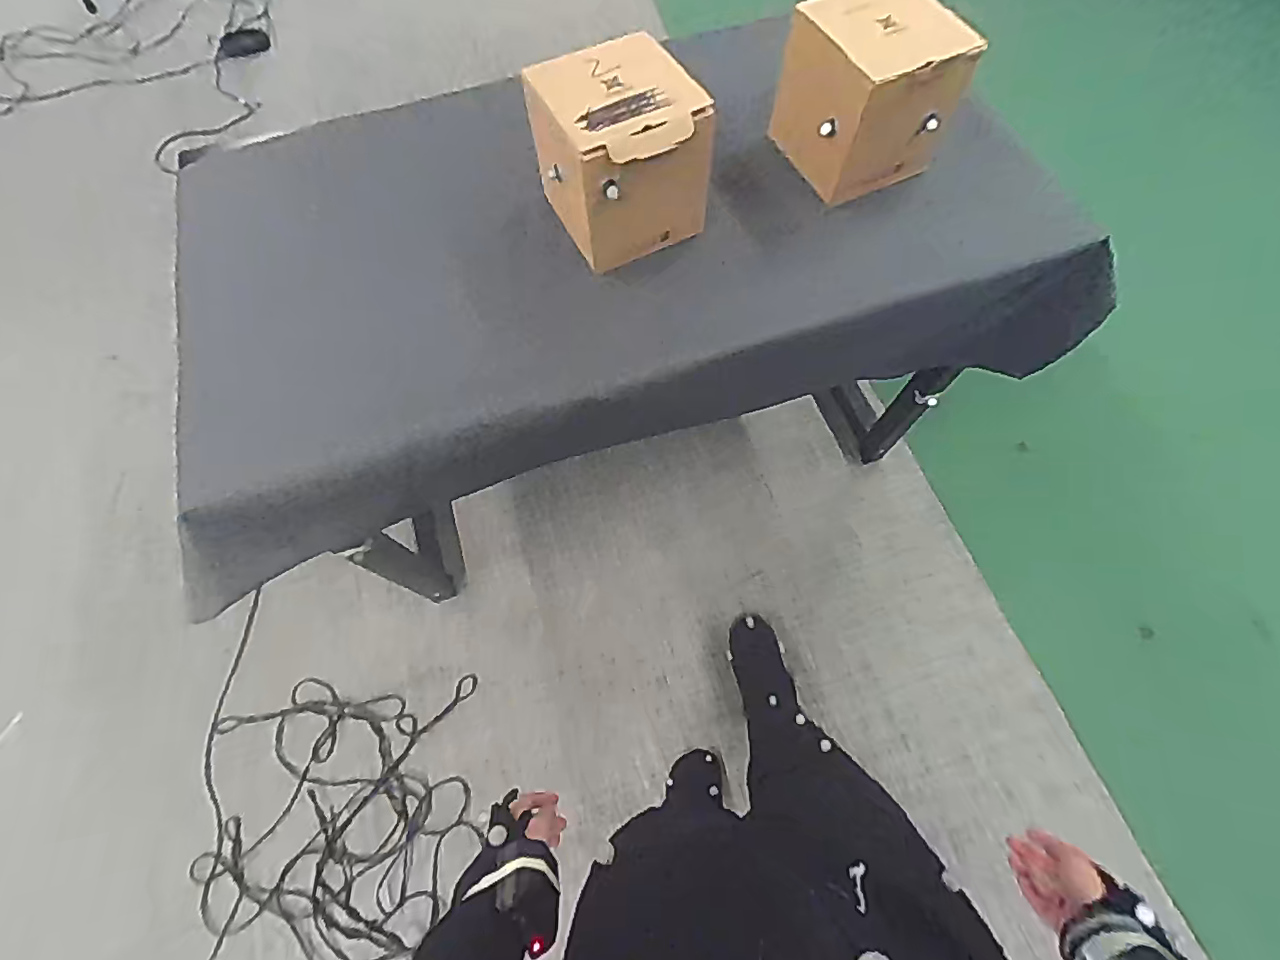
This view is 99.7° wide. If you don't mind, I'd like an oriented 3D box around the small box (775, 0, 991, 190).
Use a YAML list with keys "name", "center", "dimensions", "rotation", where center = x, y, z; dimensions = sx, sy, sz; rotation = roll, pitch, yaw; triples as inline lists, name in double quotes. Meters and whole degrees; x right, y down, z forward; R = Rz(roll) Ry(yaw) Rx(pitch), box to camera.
- name: "small box"
  center: [0.306, -0.520, 0.723]
  dimensions: [0.168, 0.176, 0.179]
  rotation: [-23, 68, -10]
